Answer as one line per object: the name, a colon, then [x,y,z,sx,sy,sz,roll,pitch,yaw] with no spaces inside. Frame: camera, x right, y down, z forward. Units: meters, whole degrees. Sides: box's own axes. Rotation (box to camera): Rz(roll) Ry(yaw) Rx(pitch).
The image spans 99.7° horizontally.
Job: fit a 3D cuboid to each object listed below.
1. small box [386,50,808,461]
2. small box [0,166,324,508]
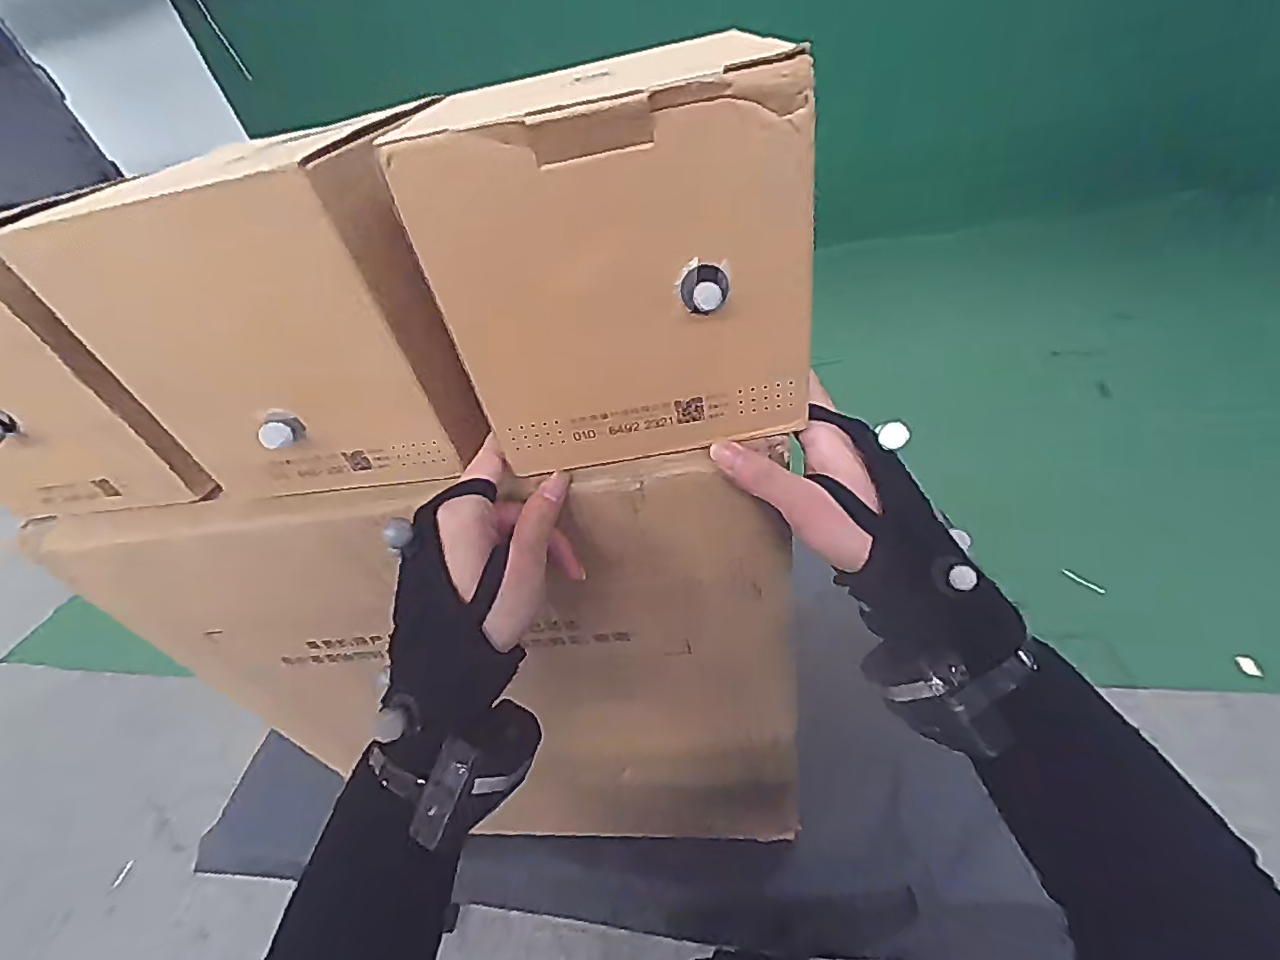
small box: [-0.009,-0.124,0.313,0.168,0.176,0.179,-8,40,3]
small box: [-0.372,-0.092,0.384,0.168,0.176,0.179,-6,41,12]
